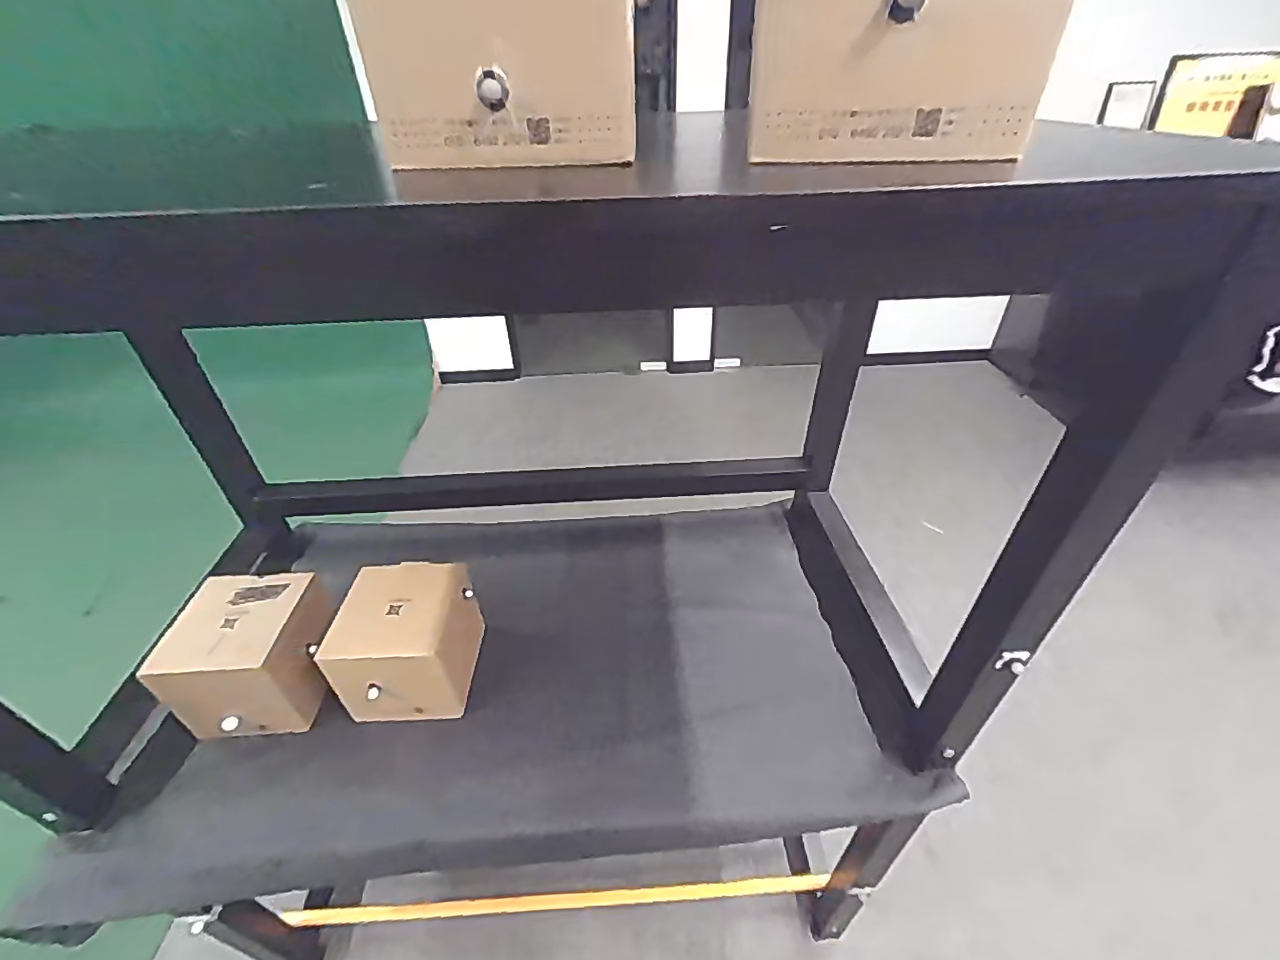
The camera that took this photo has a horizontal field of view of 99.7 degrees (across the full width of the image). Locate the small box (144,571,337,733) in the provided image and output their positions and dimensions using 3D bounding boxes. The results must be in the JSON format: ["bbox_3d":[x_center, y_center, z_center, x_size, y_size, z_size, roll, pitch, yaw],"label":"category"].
[{"bbox_3d":[-0.587,0.263,0.837,0.168,0.176,0.179,-2,37,-2],"label":"small box"}]

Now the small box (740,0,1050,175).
[{"bbox_3d":[0.161,-0.315,0.372,0.168,0.176,0.179,4,37,7],"label":"small box"}]

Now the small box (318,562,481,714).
[{"bbox_3d":[-0.360,0.251,0.852,0.168,0.176,0.179,-2,37,-1],"label":"small box"}]
